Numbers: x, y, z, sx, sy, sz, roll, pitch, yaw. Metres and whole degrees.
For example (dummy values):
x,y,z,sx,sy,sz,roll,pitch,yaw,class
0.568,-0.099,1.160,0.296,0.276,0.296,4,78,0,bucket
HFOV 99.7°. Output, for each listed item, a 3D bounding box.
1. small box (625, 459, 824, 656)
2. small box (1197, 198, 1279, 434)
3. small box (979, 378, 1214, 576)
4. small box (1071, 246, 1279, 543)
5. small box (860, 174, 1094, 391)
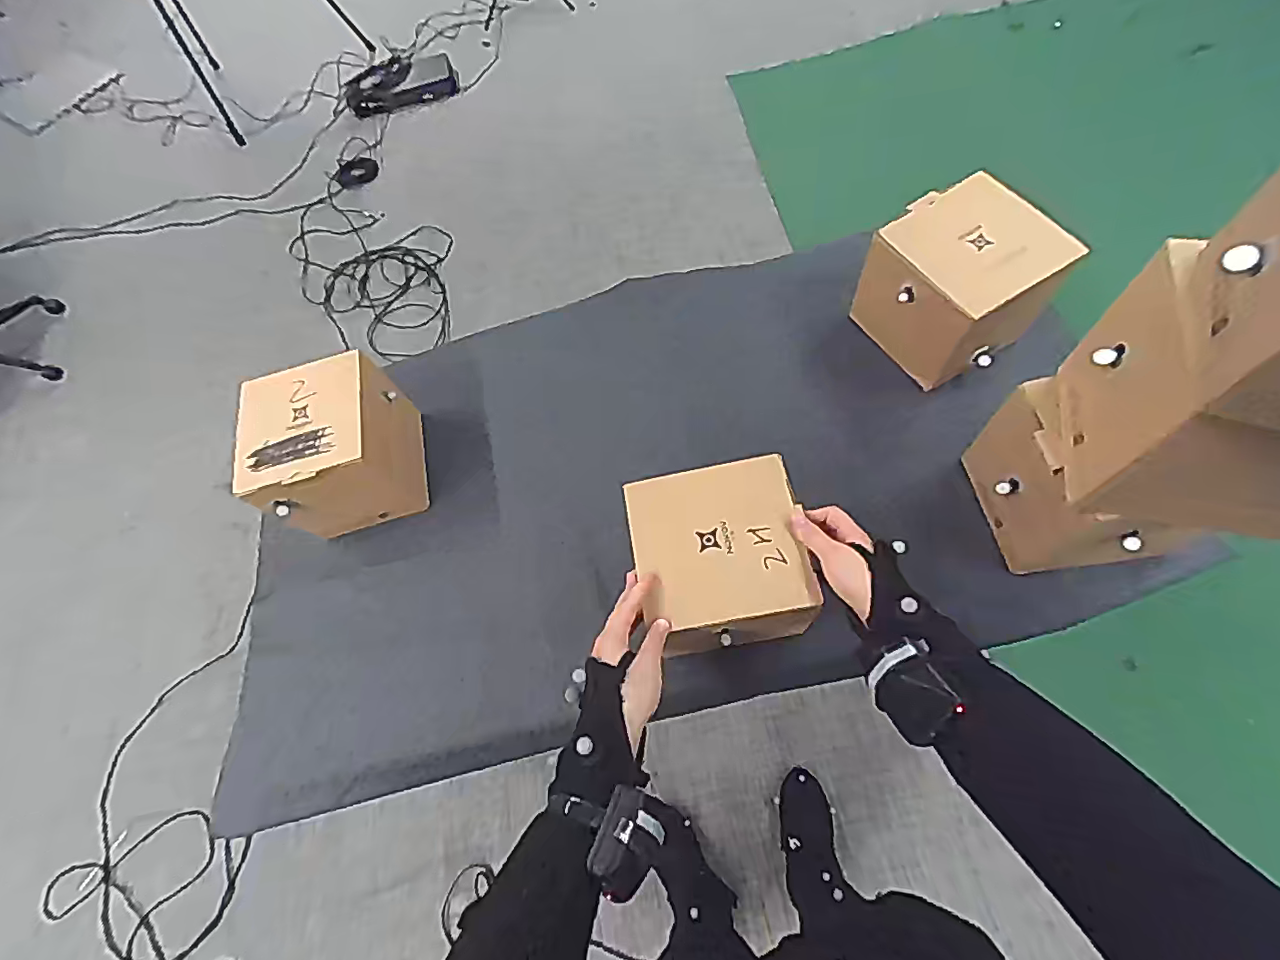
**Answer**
x,y,z,sx,sy,sz,roll,pitch,yaw,class
0.091,0.098,0.617,0.179,0.176,0.168,-11,65,4,small box
0.469,-0.115,0.286,0.179,0.176,0.168,20,68,18,small box
0.508,-0.003,0.595,0.179,0.176,0.168,-9,62,6,small box
0.490,-0.062,0.443,0.179,0.176,0.168,11,65,14,small box
0.425,-0.254,0.724,0.168,0.176,0.179,-31,67,-3,small box
